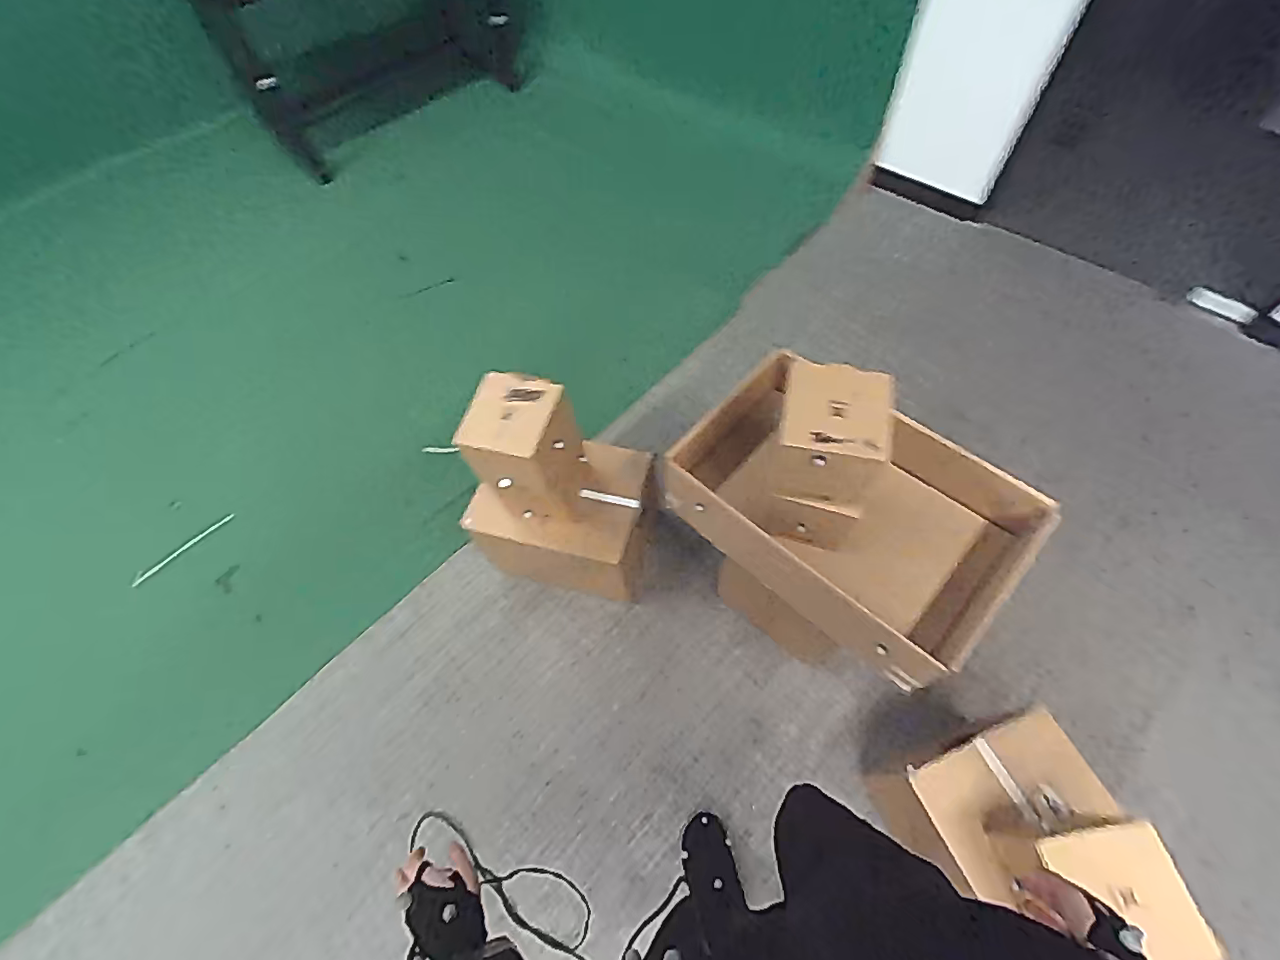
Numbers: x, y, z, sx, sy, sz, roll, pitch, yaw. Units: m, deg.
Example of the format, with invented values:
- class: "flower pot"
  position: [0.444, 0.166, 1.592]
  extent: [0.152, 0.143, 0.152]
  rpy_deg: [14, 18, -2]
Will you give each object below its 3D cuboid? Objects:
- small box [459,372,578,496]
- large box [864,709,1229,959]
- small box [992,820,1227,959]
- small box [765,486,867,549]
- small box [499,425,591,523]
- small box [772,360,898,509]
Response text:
- class: "small box"
  position: [-0.237, -0.092, 1.115]
  extent: [0.168, 0.176, 0.179]
  rpy_deg: [12, 64, 13]
- class: "large box"
  position: [0.713, 0.720, 1.041]
  extent: [0.320, 0.320, 0.408]
  rpy_deg: [-21, 60, -8]
- class: "small box"
  position: [0.685, 0.625, 0.815]
  extent: [0.179, 0.176, 0.168]
  rpy_deg: [-11, 61, 1]
- class: "small box"
  position: [0.352, 0.016, 1.069]
  extent: [0.168, 0.176, 0.179]
  rpy_deg: [16, 63, 13]
- class: "small box"
  position: [-0.219, -0.022, 1.263]
  extent: [0.168, 0.176, 0.179]
  rpy_deg: [8, 62, 10]
- class: "small box"
  position: [0.330, -0.076, 0.933]
  extent: [0.168, 0.176, 0.179]
  rpy_deg: [11, 62, 11]
